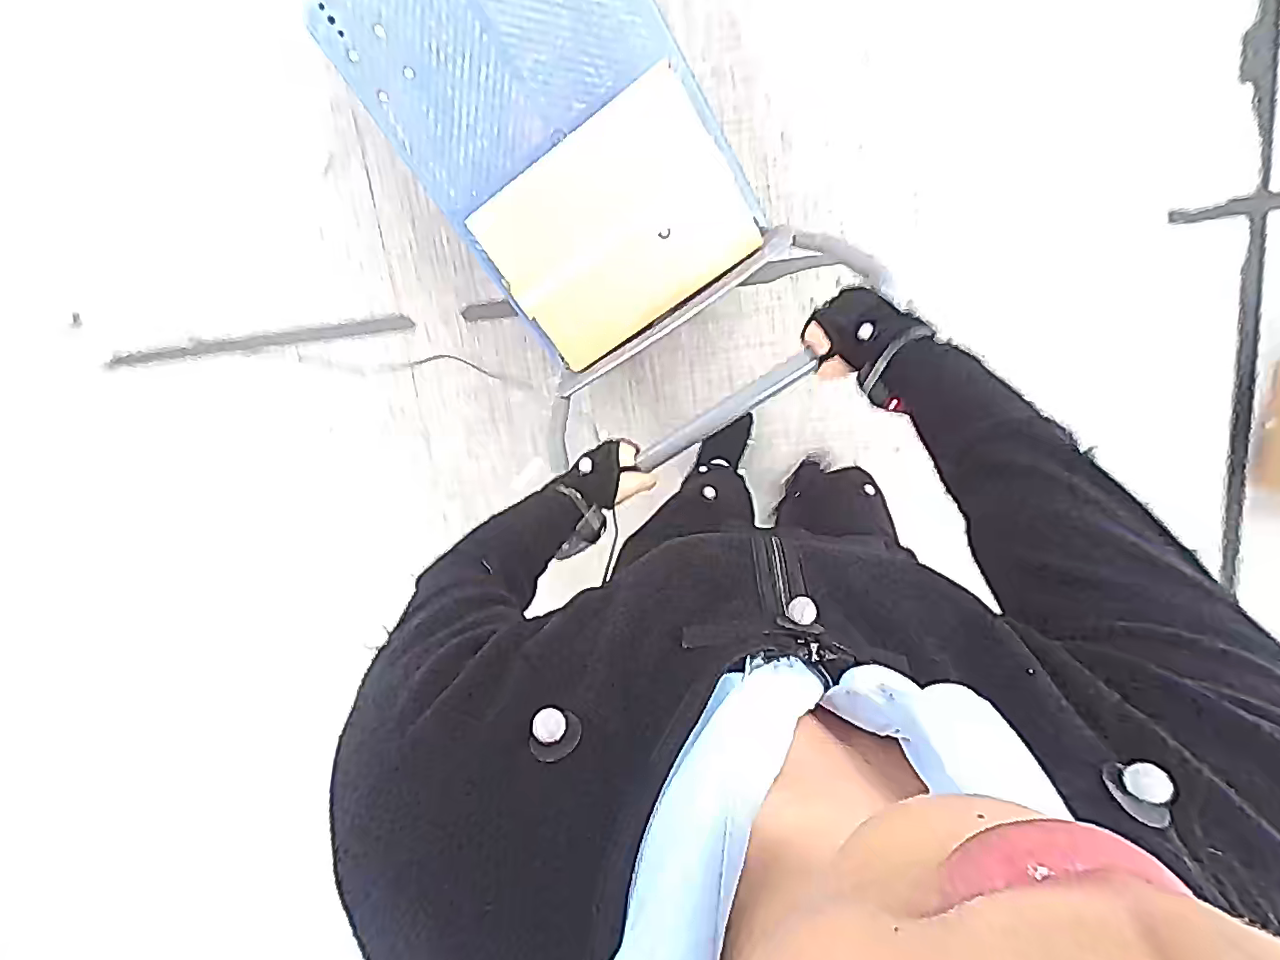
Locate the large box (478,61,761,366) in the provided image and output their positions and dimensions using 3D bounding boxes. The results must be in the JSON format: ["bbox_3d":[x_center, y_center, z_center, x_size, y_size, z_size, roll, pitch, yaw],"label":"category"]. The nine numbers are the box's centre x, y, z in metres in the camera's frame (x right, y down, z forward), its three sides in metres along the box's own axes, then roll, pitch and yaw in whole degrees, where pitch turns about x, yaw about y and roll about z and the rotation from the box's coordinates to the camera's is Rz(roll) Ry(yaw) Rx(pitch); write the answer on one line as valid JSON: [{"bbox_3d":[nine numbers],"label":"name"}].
[{"bbox_3d":[-0.038,-0.489,1.065,0.408,0.320,0.320,-33,111,11],"label":"large box"}]
